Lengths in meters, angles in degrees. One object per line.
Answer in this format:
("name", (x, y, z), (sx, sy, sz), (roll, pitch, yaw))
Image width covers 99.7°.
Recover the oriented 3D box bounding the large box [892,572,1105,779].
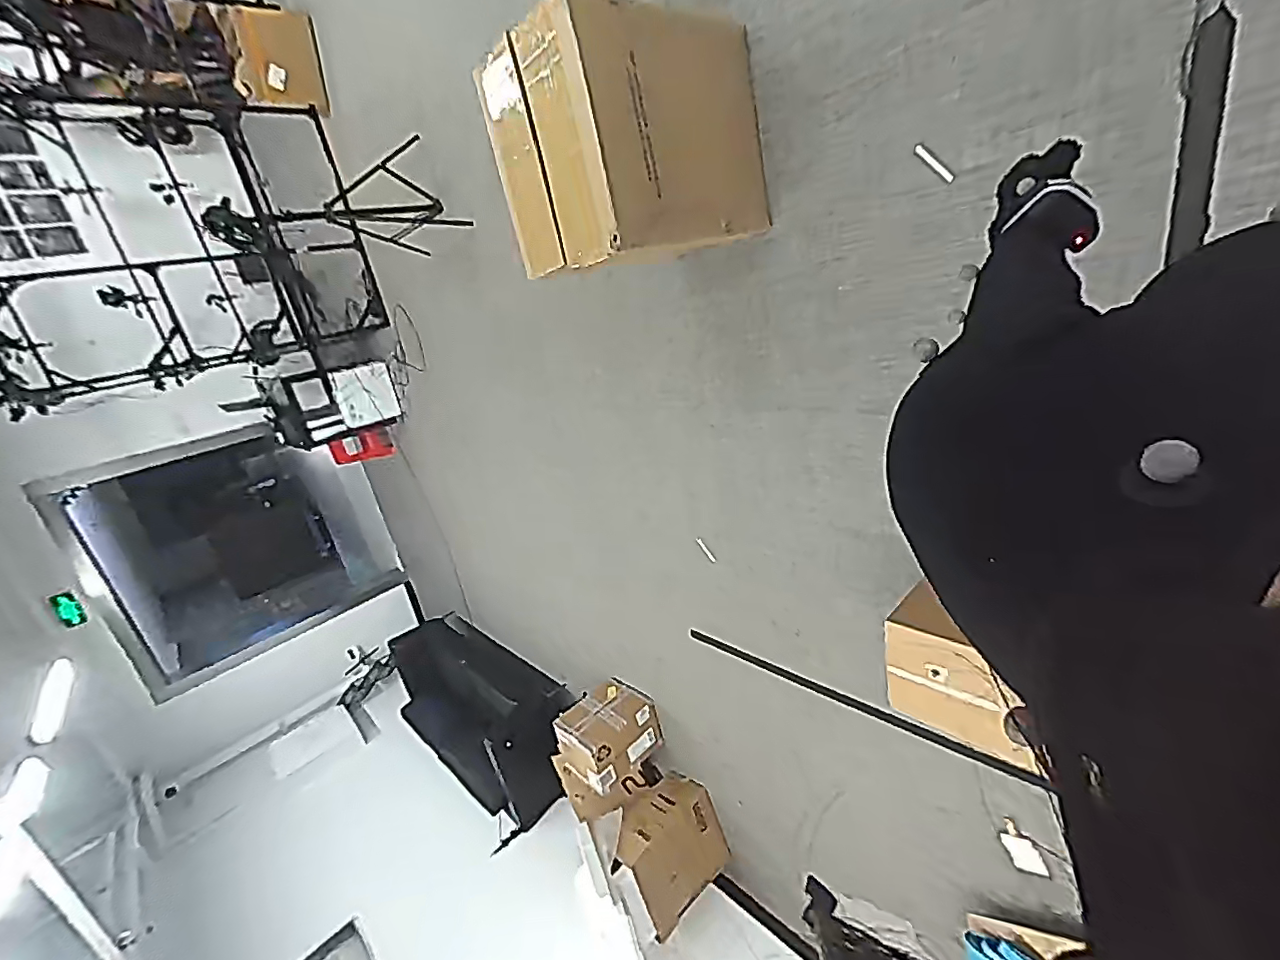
("large box", (0.955, 0.491, 1.454), (0.408, 0.320, 0.320), (11, 119, 49))
